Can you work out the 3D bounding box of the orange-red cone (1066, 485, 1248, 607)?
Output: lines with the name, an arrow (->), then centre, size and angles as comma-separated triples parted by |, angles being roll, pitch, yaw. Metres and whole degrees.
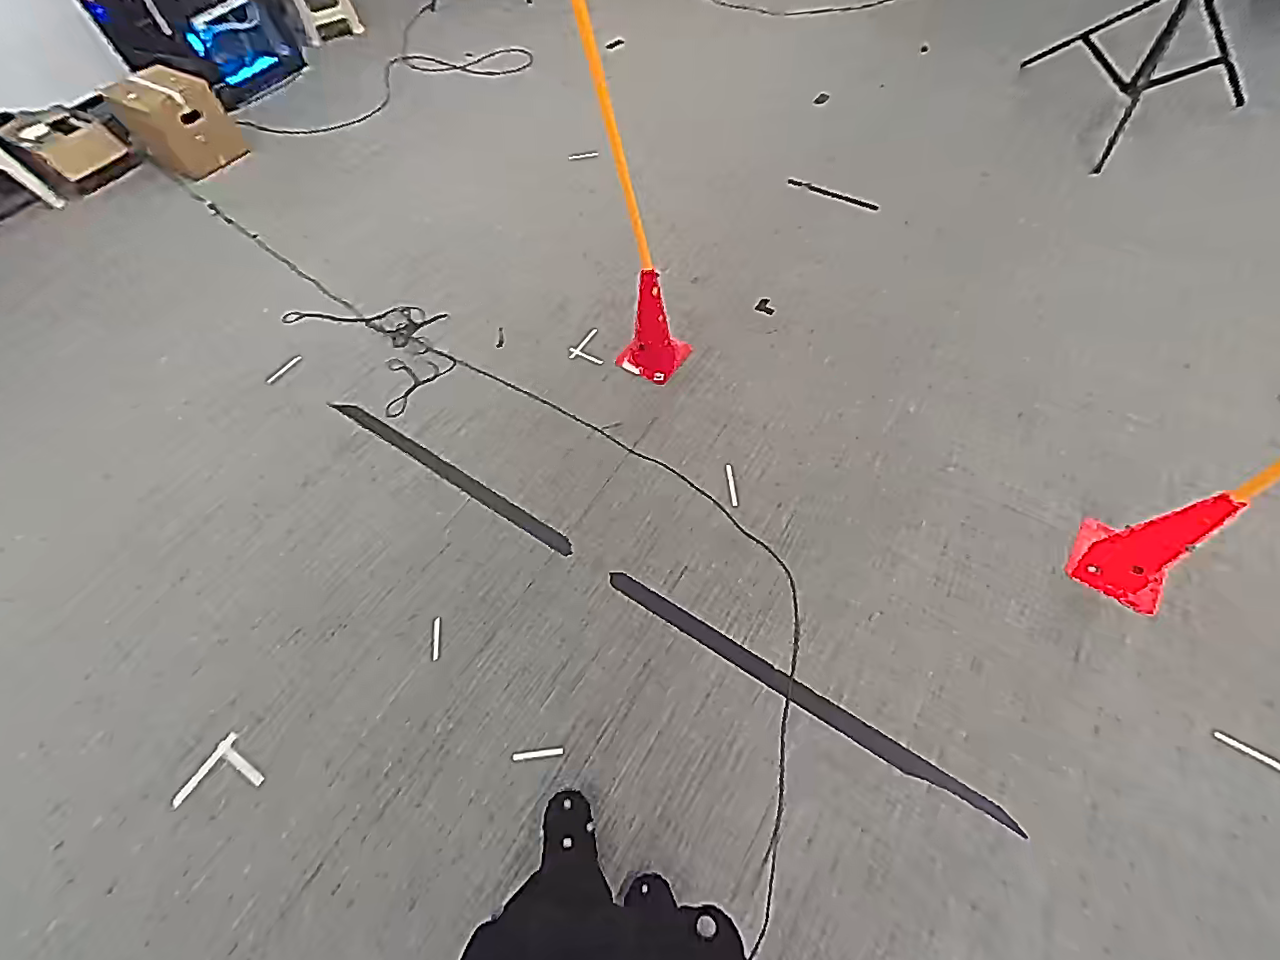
orange-red cone -> 1.195, 0.112, 1.218 | 0.199, 0.360, 0.198 | 31, 67, 20
